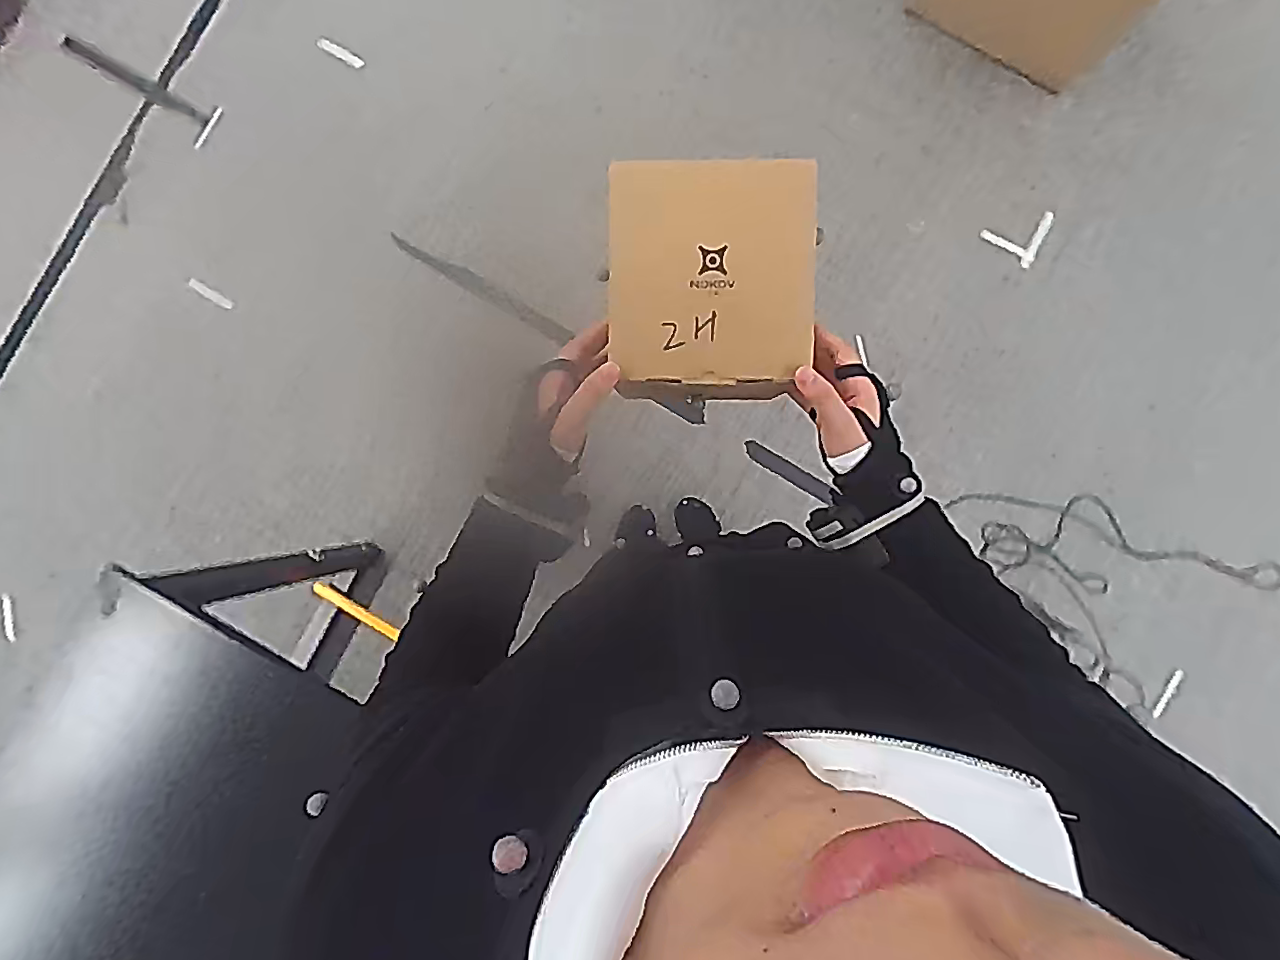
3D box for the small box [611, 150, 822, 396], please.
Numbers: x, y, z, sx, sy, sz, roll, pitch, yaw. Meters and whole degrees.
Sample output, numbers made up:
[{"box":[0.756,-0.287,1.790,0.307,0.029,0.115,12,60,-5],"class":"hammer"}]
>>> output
[{"box":[0.063,-0.178,0.512,0.168,0.176,0.179,2,93,3],"class":"small box"}]
